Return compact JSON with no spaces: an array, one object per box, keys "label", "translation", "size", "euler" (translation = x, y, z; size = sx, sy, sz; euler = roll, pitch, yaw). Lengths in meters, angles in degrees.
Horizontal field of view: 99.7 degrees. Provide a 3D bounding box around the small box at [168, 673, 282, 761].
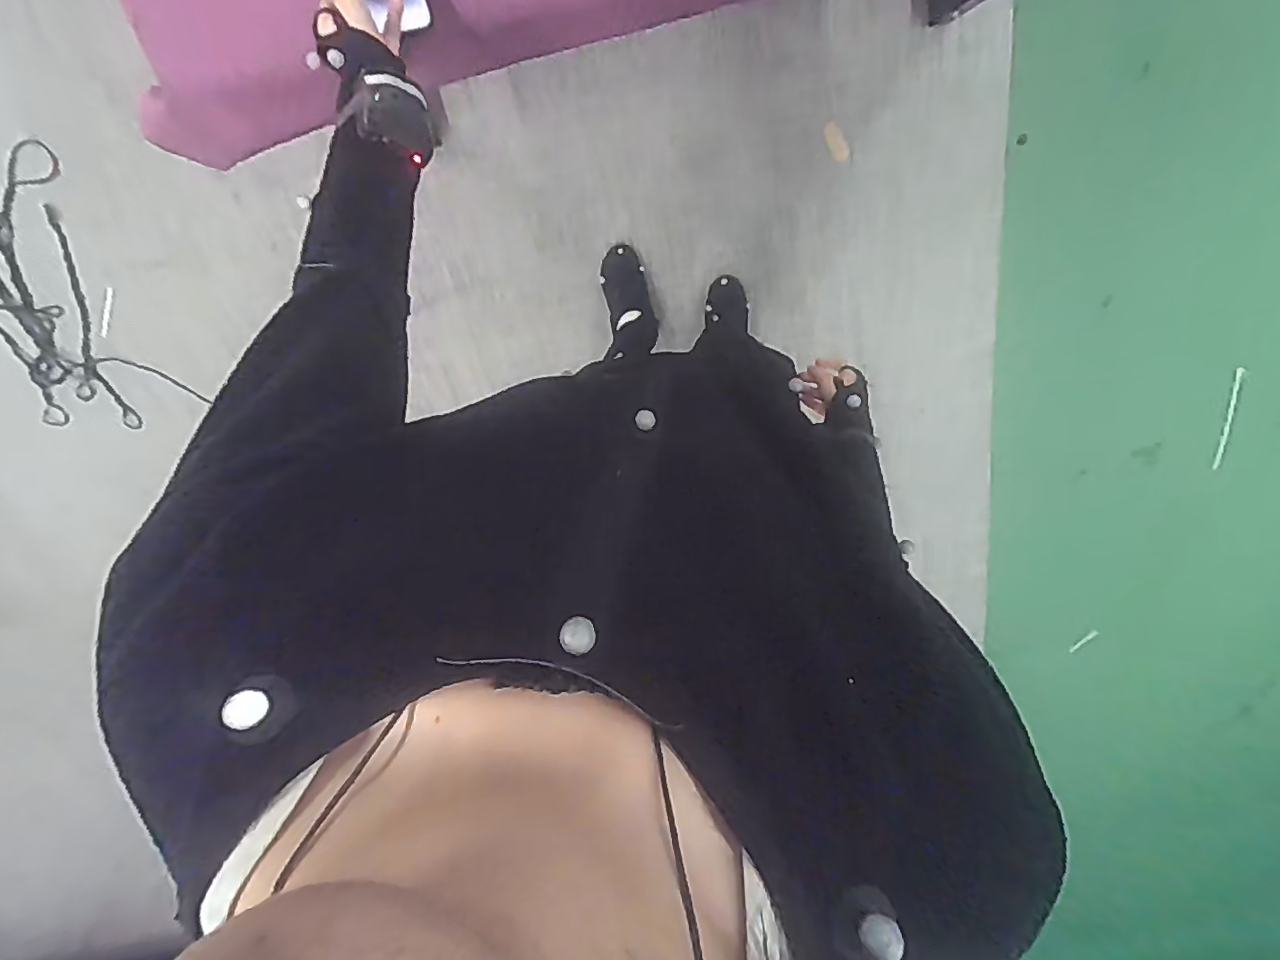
[{"label":"small box","translation":[-1.235,0.708,1.625],"size":[0.179,0.176,0.168],"euler":[-11,116,5]}]
